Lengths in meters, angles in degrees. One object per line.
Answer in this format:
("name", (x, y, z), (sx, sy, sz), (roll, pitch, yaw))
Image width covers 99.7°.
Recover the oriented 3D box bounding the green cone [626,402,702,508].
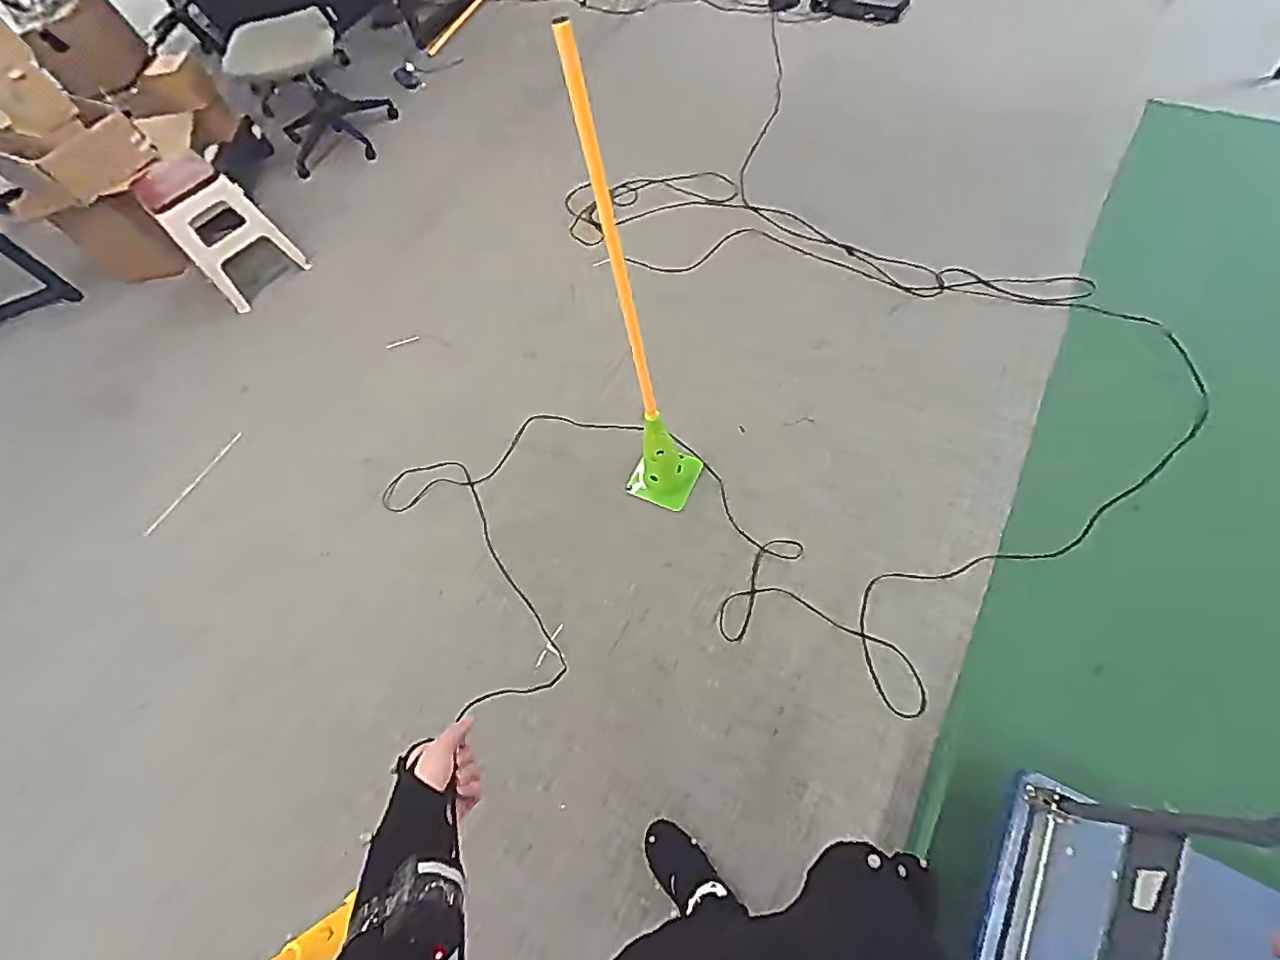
("green cone", (0.058, -0.101, 1.586), (0.200, 0.368, 0.202), (21, 66, 18))
